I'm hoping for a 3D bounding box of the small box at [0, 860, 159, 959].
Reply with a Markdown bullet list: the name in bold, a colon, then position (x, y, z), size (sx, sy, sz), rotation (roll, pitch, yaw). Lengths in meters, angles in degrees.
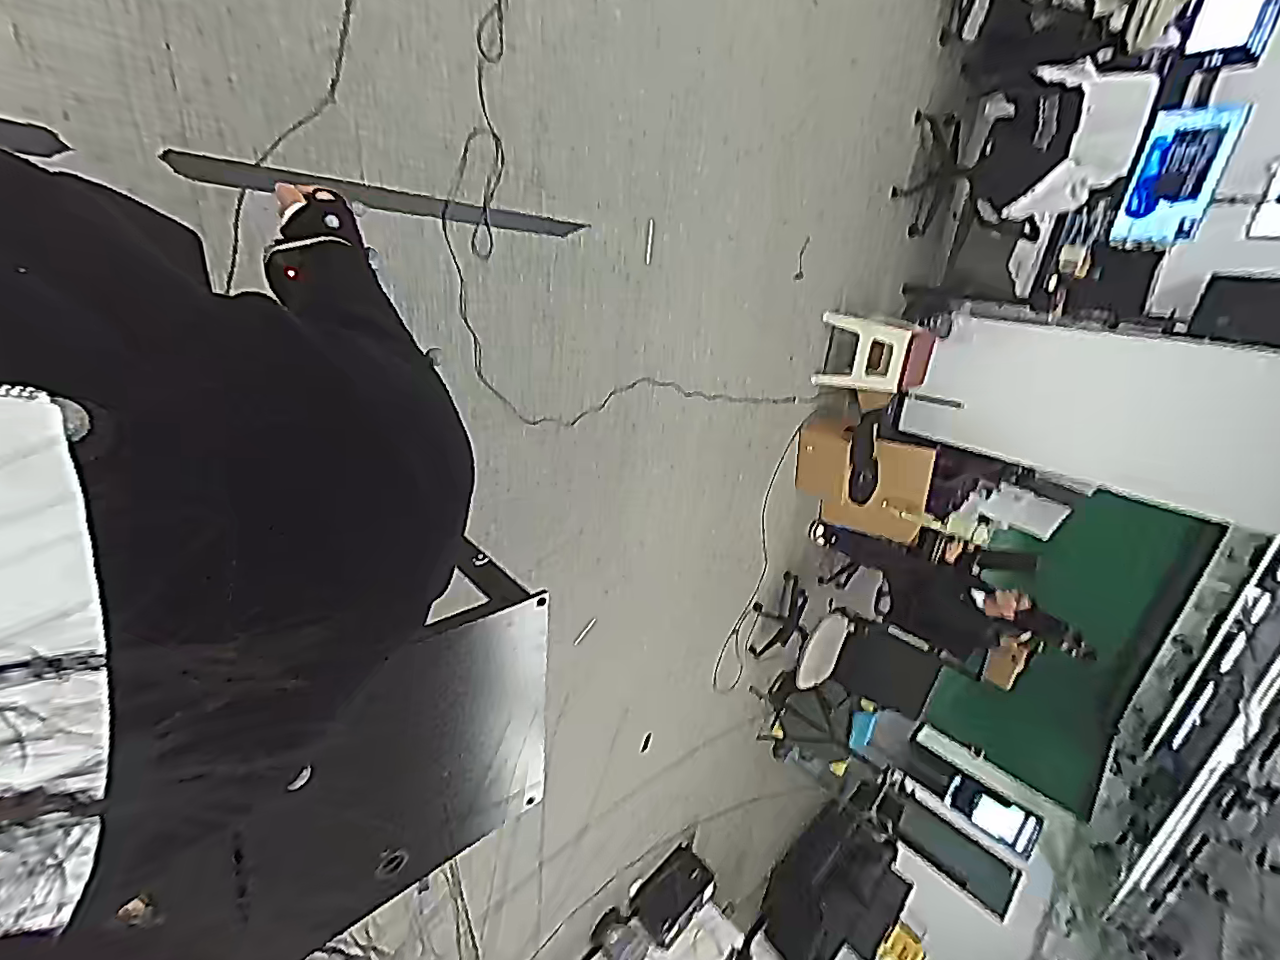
- **small box**: position (-0.696, 0.612, 0.642), size (0.179, 0.176, 0.168), rotation (-13, 119, -41)
